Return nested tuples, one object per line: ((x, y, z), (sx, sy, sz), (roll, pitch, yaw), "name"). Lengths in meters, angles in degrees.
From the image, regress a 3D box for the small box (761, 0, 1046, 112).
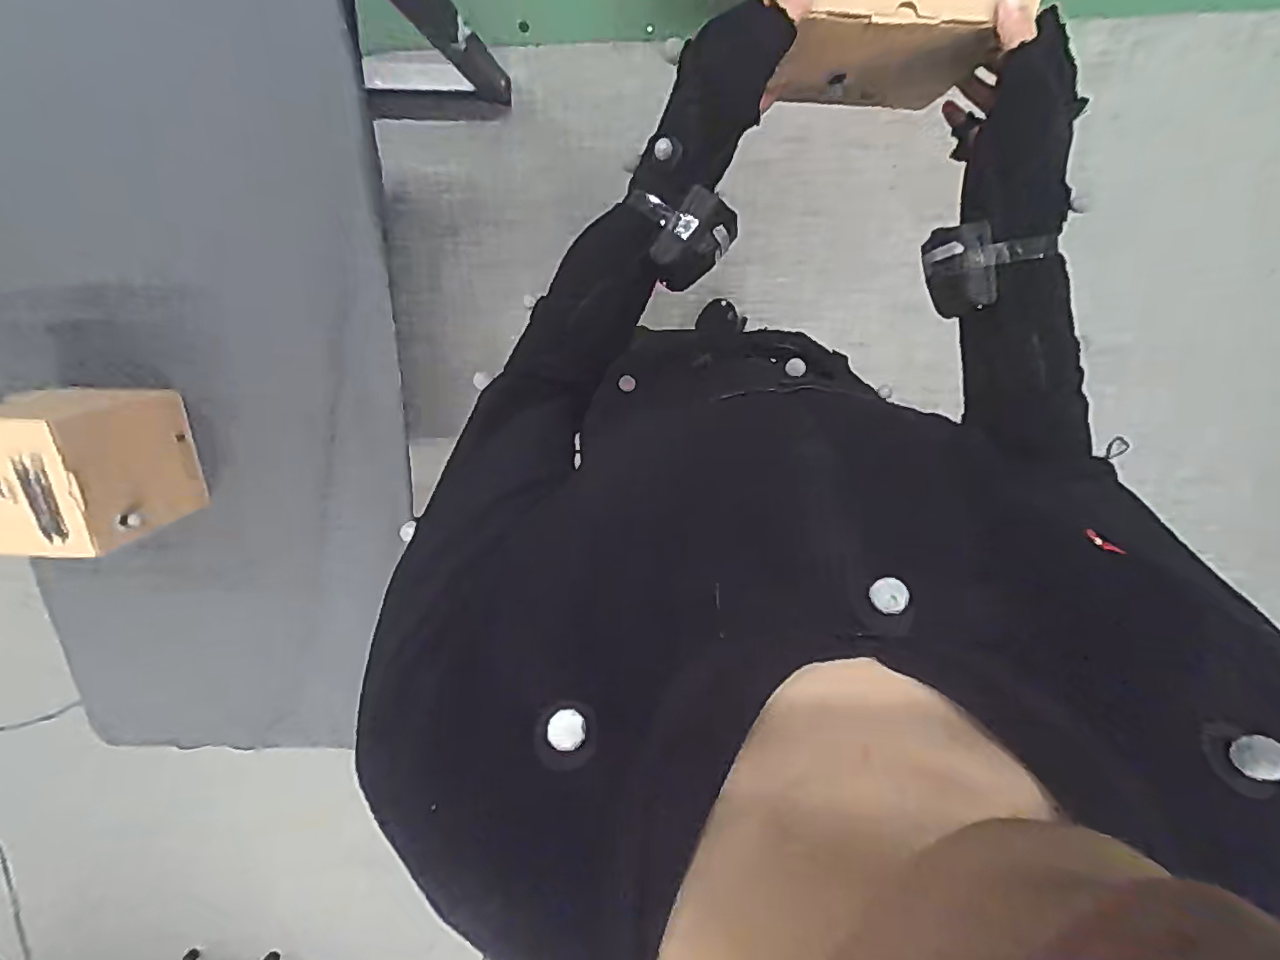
((0.192, -0.408, 0.405), (0.168, 0.176, 0.179), (6, 110, 2), "small box")
